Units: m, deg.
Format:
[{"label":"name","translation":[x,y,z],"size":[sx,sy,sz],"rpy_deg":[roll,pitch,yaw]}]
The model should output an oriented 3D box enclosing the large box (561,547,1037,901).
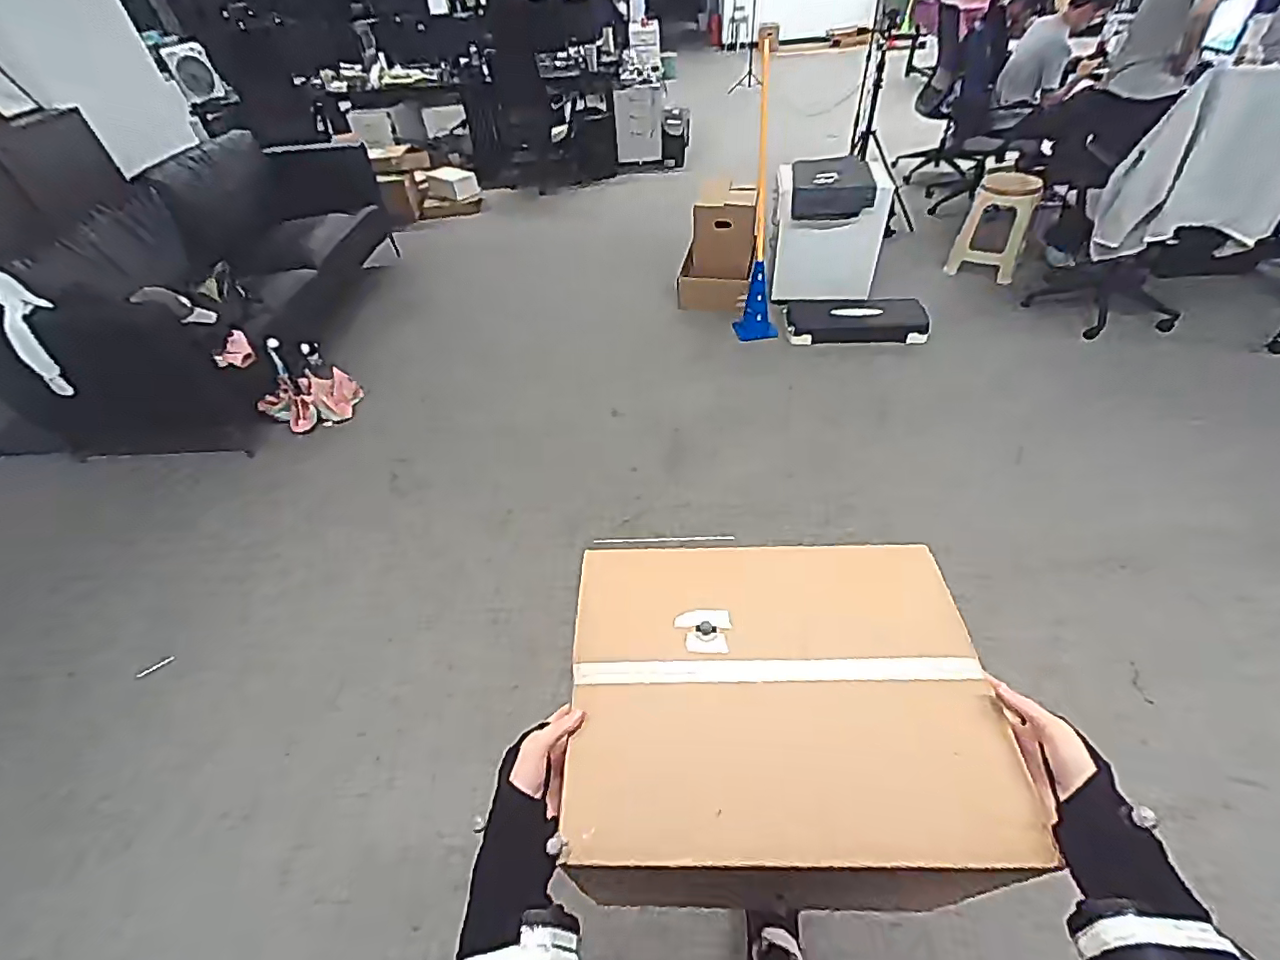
[{"label":"large box","translation":[0.139,0.302,0.657],"size":[0.408,0.320,0.320],"rpy_deg":[-2,46,2]}]
